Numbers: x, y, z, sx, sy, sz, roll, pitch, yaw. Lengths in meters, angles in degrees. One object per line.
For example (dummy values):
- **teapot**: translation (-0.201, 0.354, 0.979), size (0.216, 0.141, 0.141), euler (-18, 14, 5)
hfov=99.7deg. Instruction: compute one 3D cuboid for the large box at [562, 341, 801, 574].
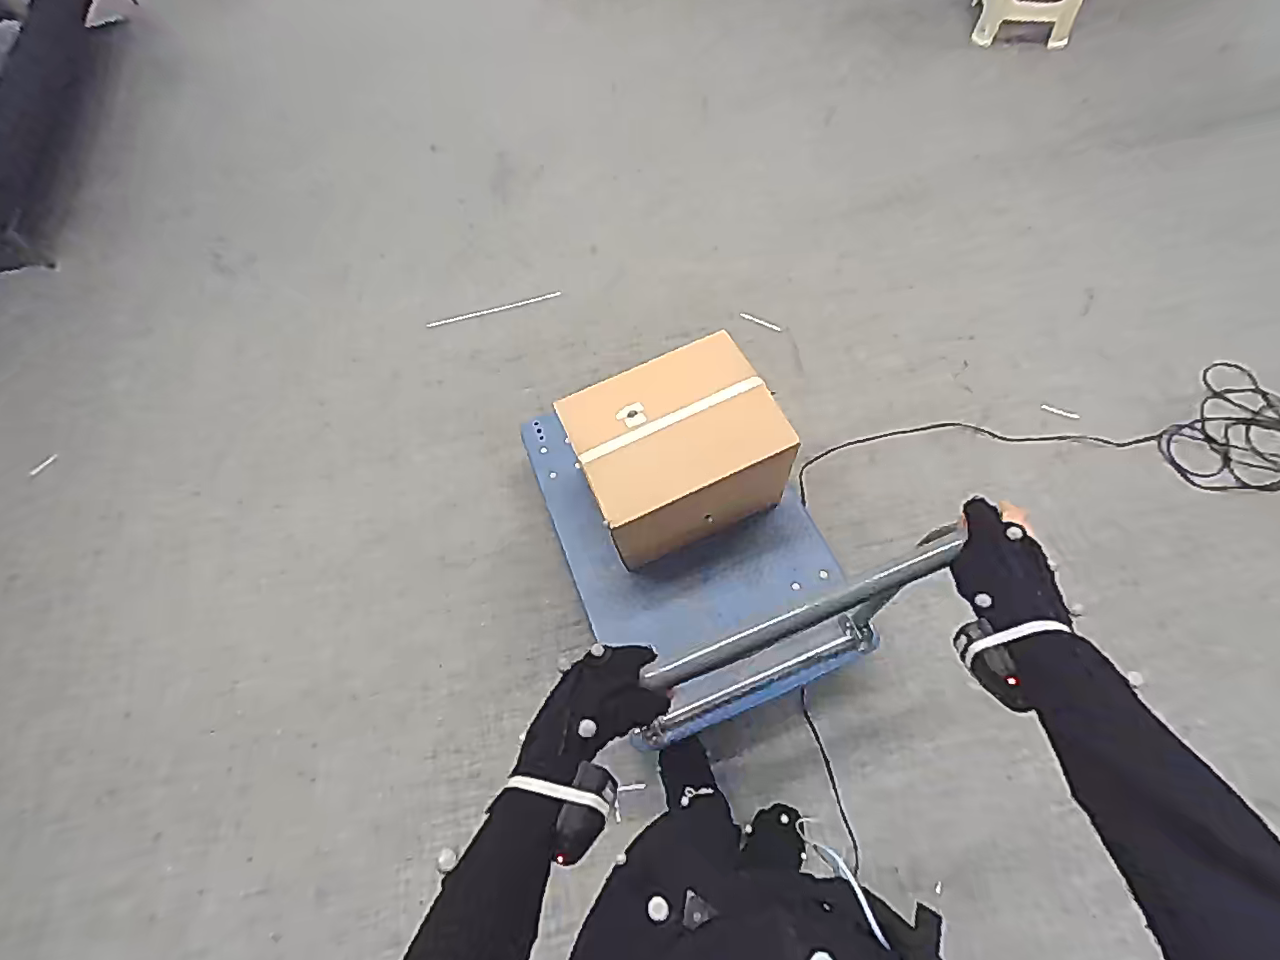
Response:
- **large box**: translation (0.091, -0.037, 1.225), size (0.408, 0.320, 0.320), euler (-25, 64, -5)
